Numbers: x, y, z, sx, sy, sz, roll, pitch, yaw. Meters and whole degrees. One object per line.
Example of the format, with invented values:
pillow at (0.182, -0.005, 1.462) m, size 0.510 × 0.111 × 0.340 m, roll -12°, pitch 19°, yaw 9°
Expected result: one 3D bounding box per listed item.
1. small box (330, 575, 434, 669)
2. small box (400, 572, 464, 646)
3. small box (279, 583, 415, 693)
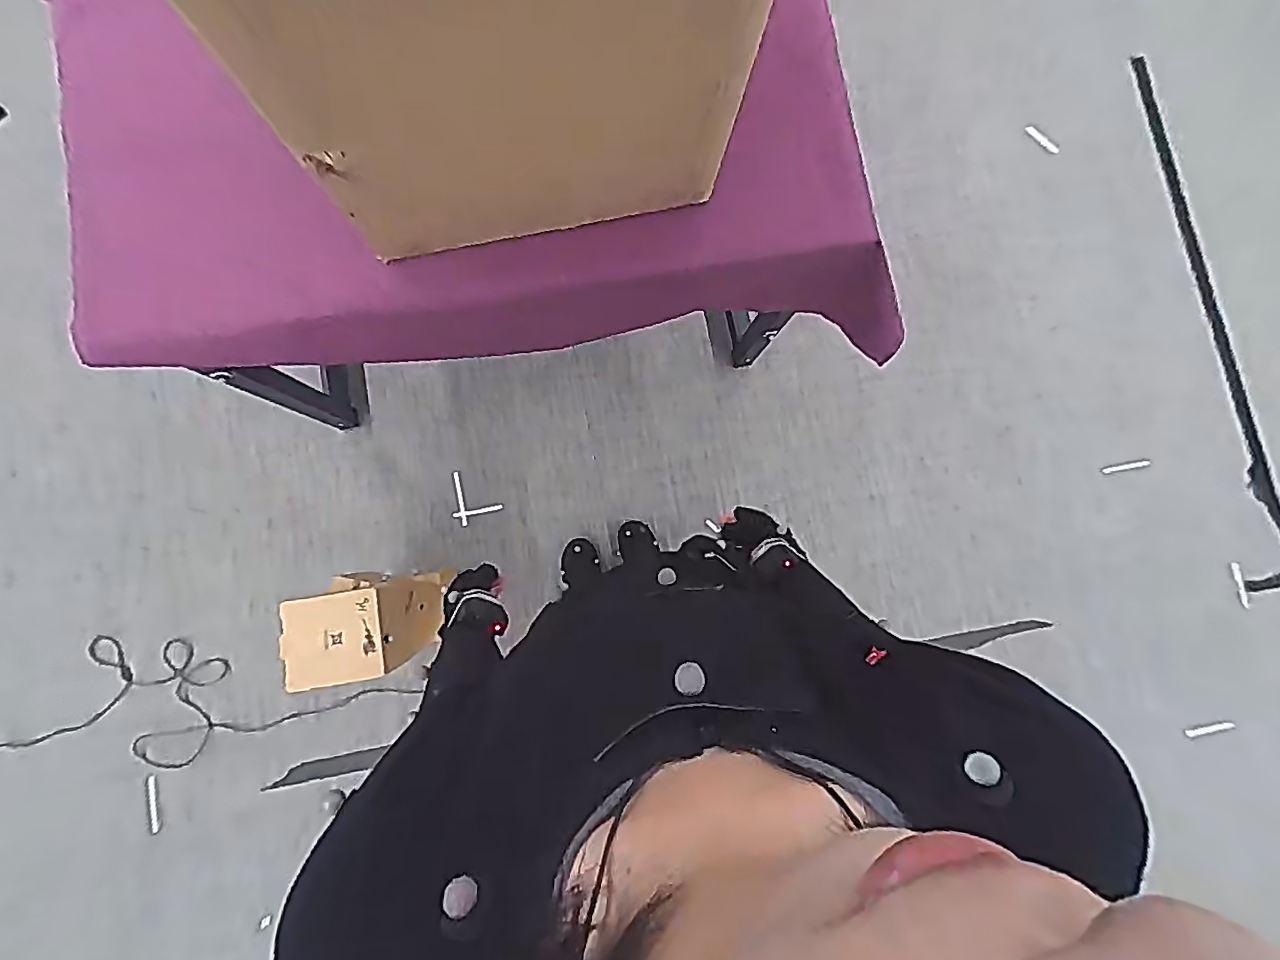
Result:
small box at (-0.586, 0.311, 1.220) m, size 0.179 × 0.176 × 0.168 m, roll 11°, pitch 82°, yaw -2°
small box at (-0.567, 0.331, 1.383) m, size 0.179 × 0.176 × 0.168 m, roll -8°, pitch 85°, yaw -5°
small box at (-0.565, 0.300, 1.058) m, size 0.179 × 0.176 × 0.168 m, roll -8°, pitch 84°, yaw -5°
